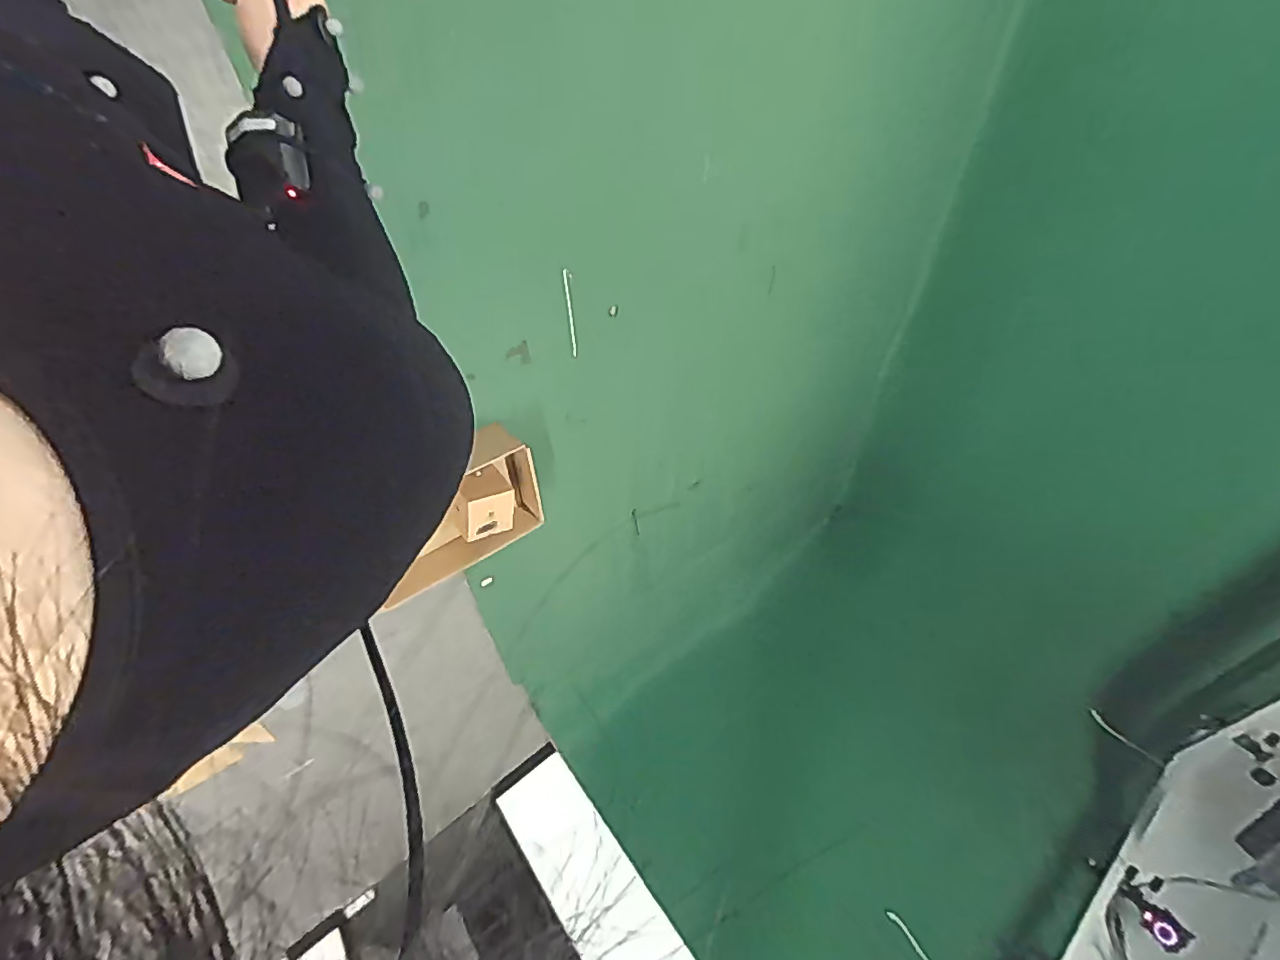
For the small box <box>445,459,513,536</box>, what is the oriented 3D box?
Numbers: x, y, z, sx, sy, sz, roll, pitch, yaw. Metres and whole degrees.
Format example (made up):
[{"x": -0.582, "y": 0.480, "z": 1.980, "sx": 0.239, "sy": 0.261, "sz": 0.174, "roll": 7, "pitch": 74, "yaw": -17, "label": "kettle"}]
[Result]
[{"x": -0.551, "y": 0.056, "z": 1.836, "sx": 0.168, "sy": 0.176, "sz": 0.179, "roll": -18, "pitch": 136, "yaw": -36, "label": "small box"}]

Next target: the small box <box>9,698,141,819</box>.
[{"x": -1.342, "y": 0.655, "z": 1.292, "sx": 0.168, "sy": 0.176, "sz": 0.179, "roll": -21, "pitch": 137, "yaw": -30, "label": "small box"}]
